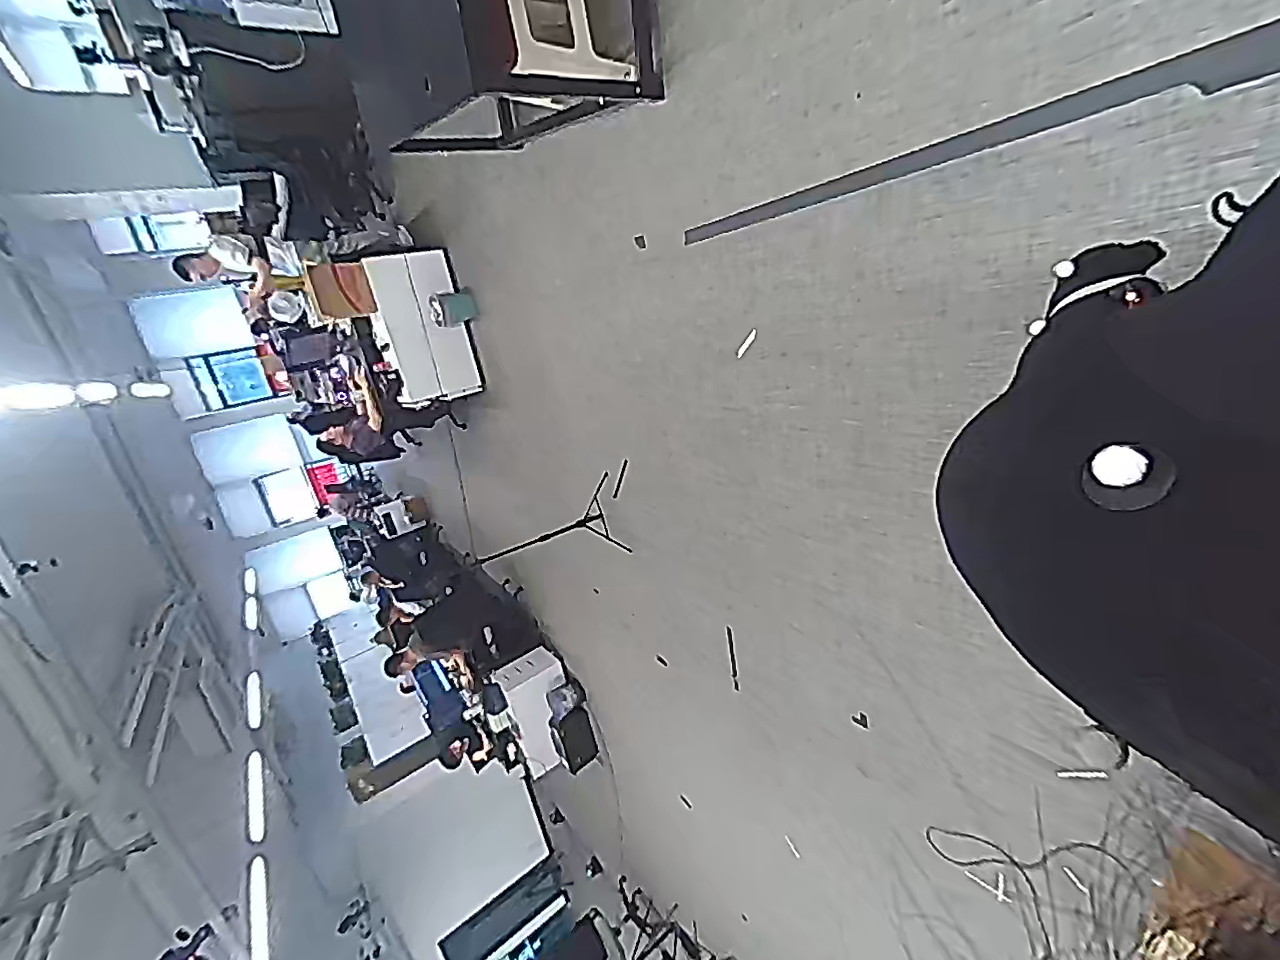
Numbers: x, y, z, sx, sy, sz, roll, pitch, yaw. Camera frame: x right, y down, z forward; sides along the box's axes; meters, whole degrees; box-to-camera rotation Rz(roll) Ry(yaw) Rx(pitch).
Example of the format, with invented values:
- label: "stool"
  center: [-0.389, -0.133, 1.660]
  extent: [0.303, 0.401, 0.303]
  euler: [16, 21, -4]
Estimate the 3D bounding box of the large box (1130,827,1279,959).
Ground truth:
- label: "large box"
  center: [1.433, 1.120, 1.225]
  extent: [0.408, 0.320, 0.320]
  euler: [22, 127, 48]
